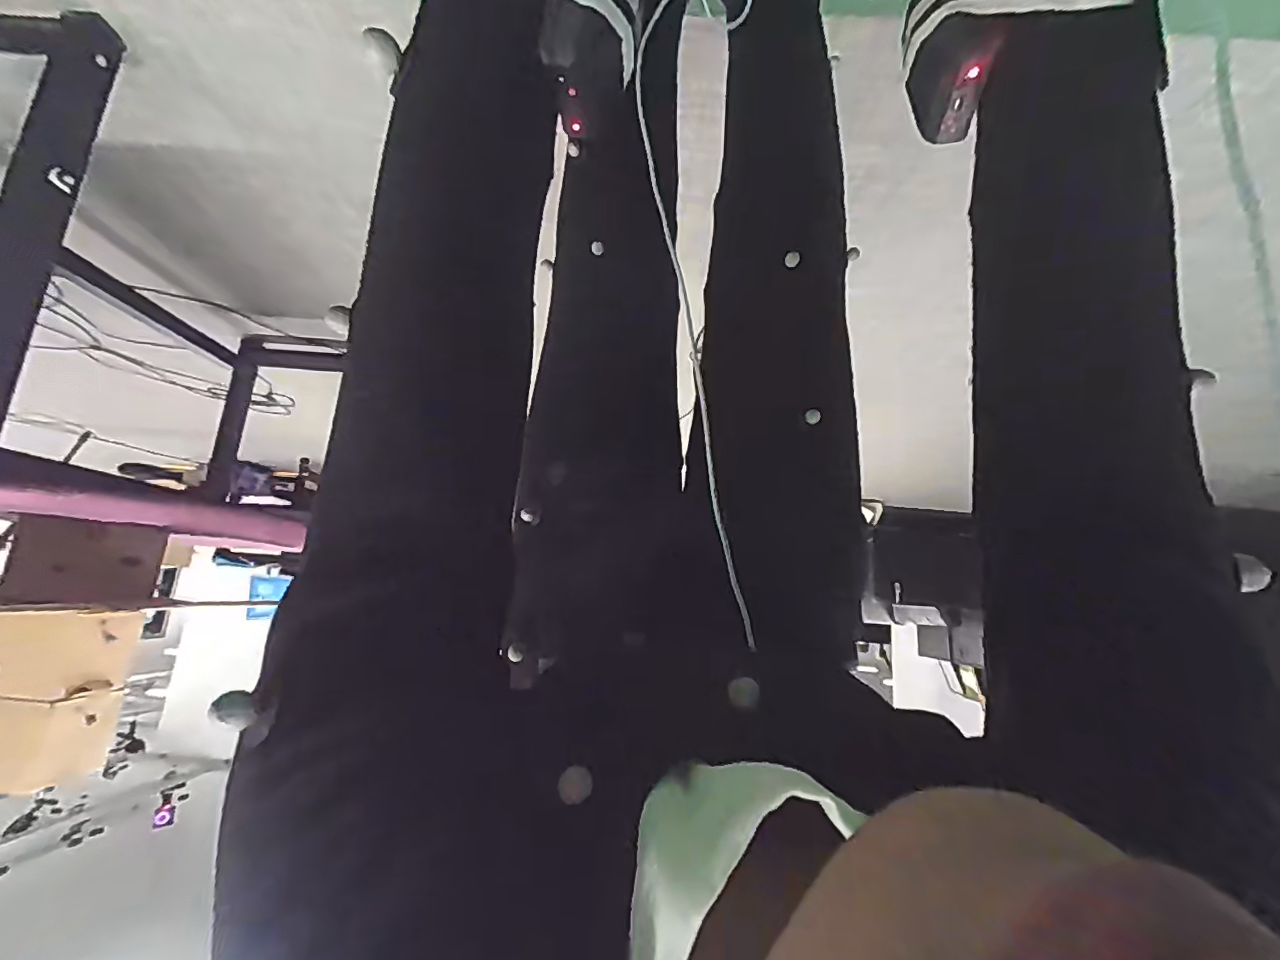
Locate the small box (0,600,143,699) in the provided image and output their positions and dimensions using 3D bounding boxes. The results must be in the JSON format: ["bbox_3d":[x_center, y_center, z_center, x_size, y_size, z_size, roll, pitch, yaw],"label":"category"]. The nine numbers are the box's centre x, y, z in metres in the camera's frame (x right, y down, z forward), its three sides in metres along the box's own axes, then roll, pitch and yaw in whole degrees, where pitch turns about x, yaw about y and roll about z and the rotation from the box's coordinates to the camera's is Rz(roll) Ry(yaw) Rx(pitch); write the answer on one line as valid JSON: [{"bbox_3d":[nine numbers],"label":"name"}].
[{"bbox_3d":[-1.194,0.341,1.116,0.179,0.176,0.168,6,168,-1],"label":"small box"}]

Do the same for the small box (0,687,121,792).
[{"bbox_3d":[-1.211,0.500,1.082,0.179,0.176,0.168,6,167,-1],"label":"small box"}]
